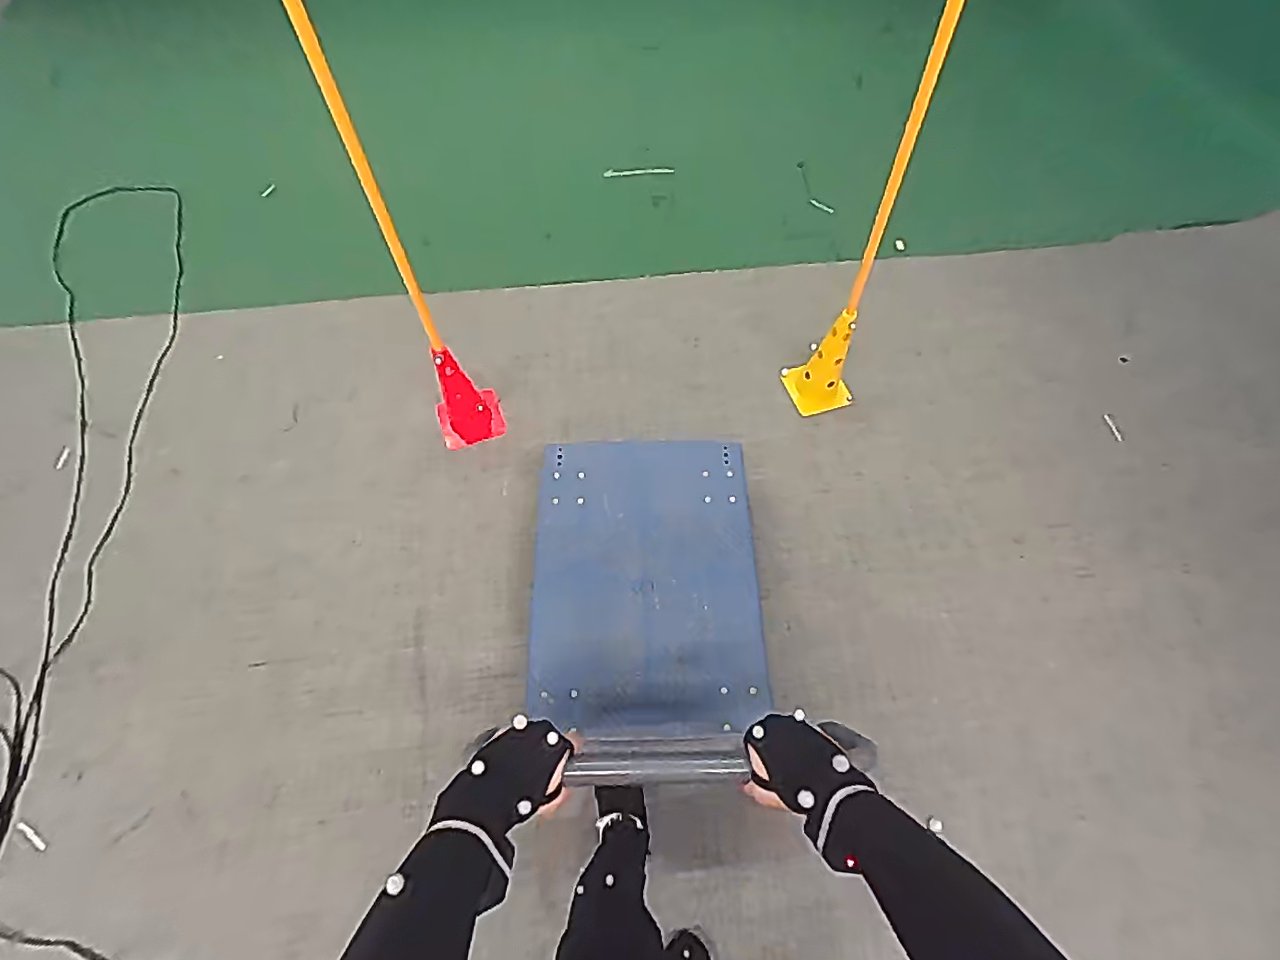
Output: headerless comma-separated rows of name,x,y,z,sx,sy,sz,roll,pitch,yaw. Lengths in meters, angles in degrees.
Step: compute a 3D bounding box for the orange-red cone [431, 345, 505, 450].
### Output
orange-red cone,-0.564,-0.279,1.656,0.199,0.360,0.198,-19,64,-9
